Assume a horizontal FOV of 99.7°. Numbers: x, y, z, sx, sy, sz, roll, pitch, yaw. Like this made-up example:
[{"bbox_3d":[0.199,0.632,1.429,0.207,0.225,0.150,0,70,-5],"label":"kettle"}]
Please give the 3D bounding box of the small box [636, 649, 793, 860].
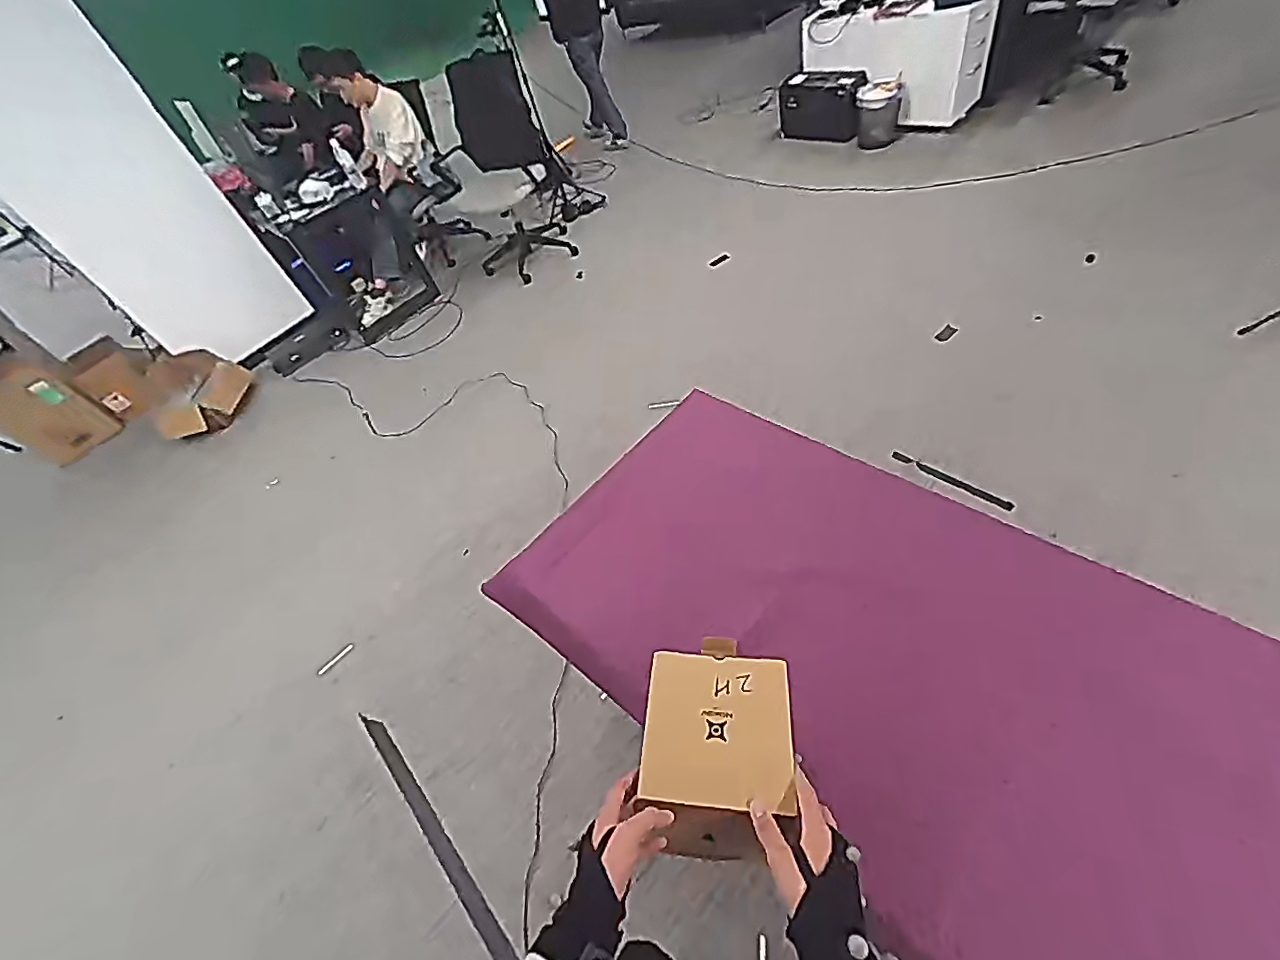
[{"bbox_3d":[0.094,0.338,0.668,0.168,0.176,0.179,4,40,9],"label":"small box"}]
